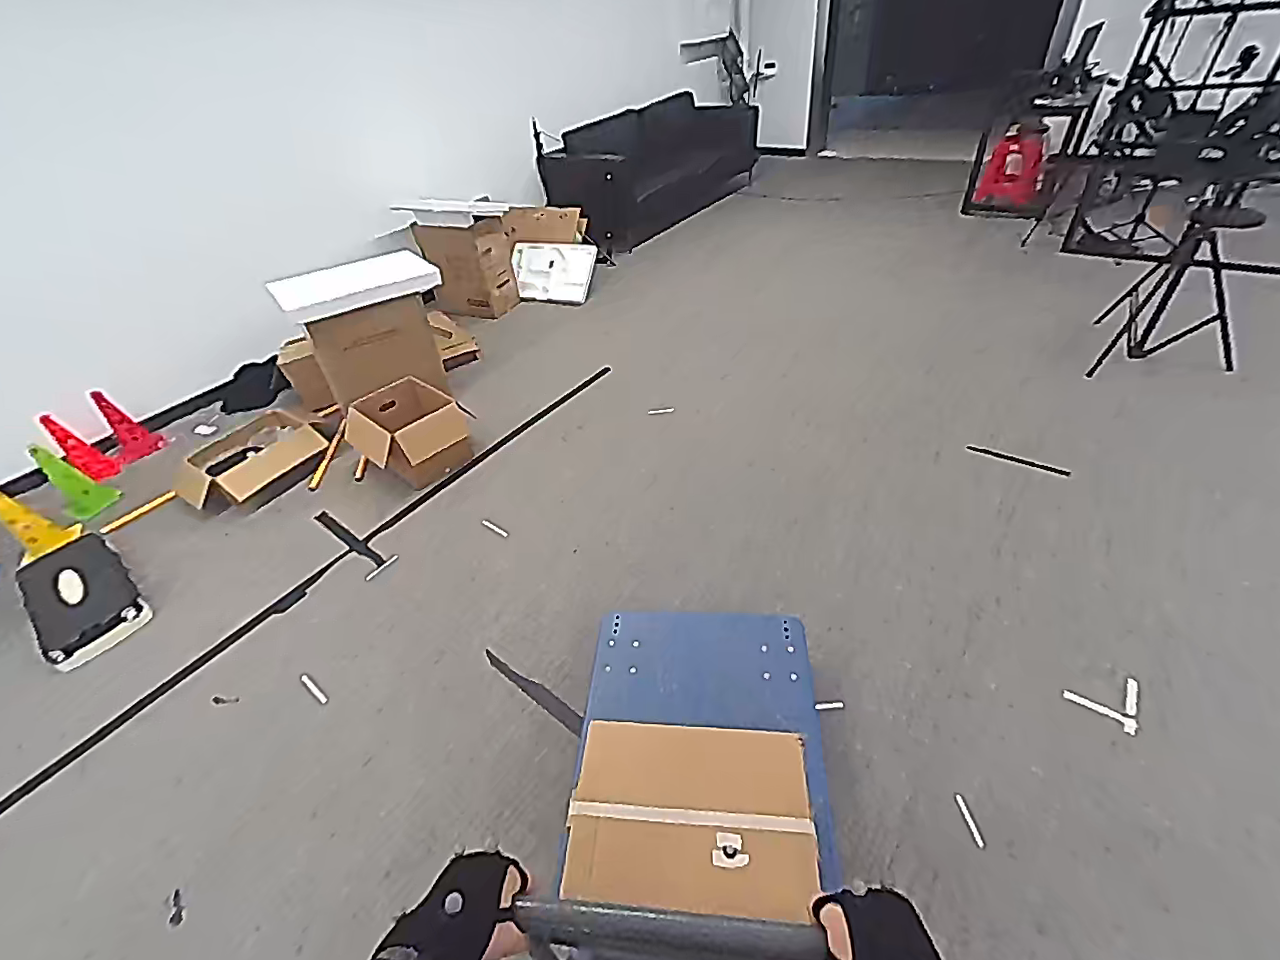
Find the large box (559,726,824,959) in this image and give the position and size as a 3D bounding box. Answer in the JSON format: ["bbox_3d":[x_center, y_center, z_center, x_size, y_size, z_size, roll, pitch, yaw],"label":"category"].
[{"bbox_3d":[0.093,0.692,1.011,0.408,0.320,0.320,1,42,7],"label":"large box"}]
